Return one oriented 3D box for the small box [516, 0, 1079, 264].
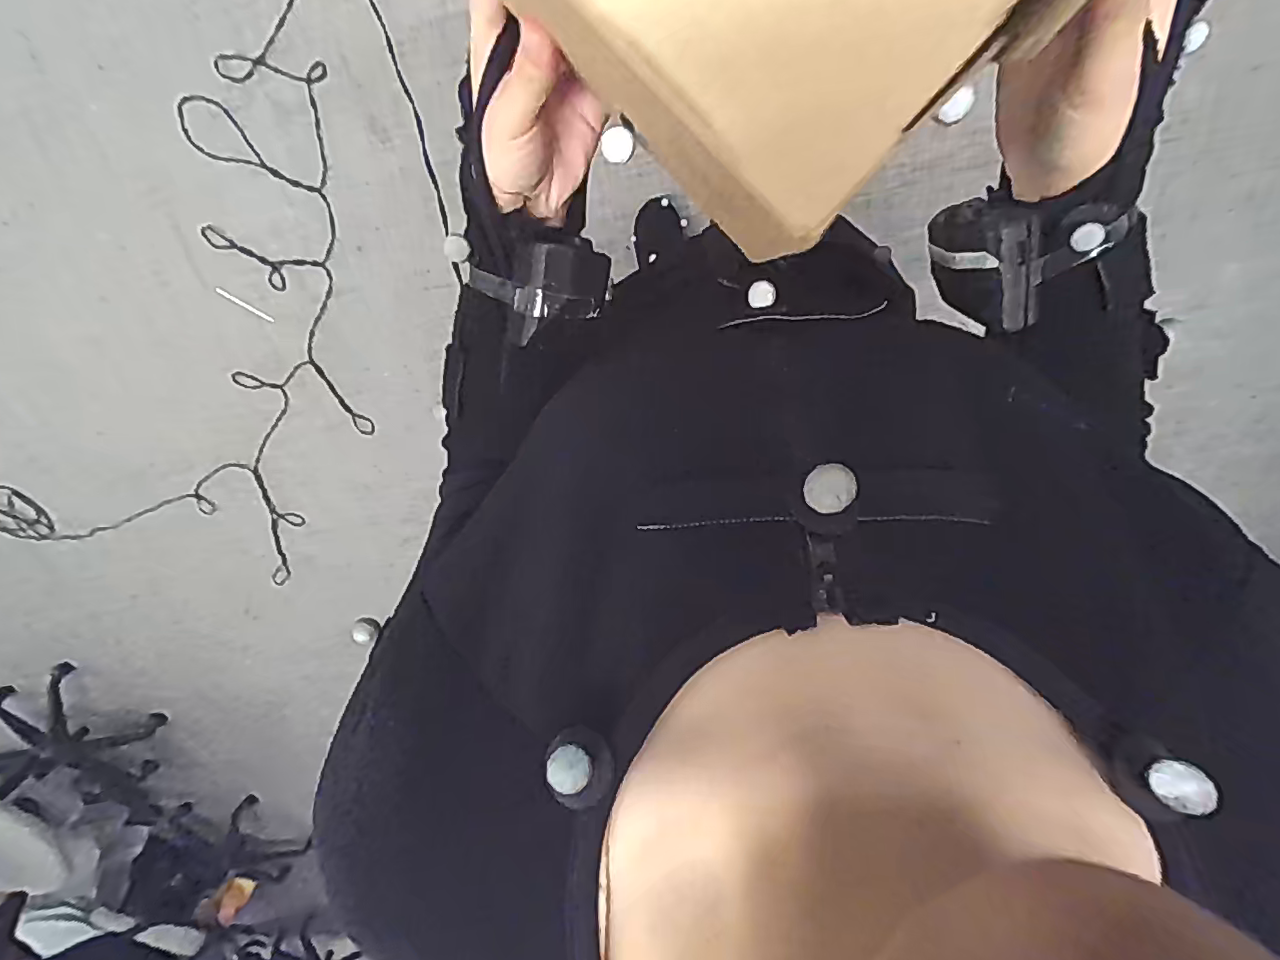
[{"bbox_3d":[0.051,-0.201,0.189,0.179,0.176,0.168,43,109,-9],"label":"small box"}]
